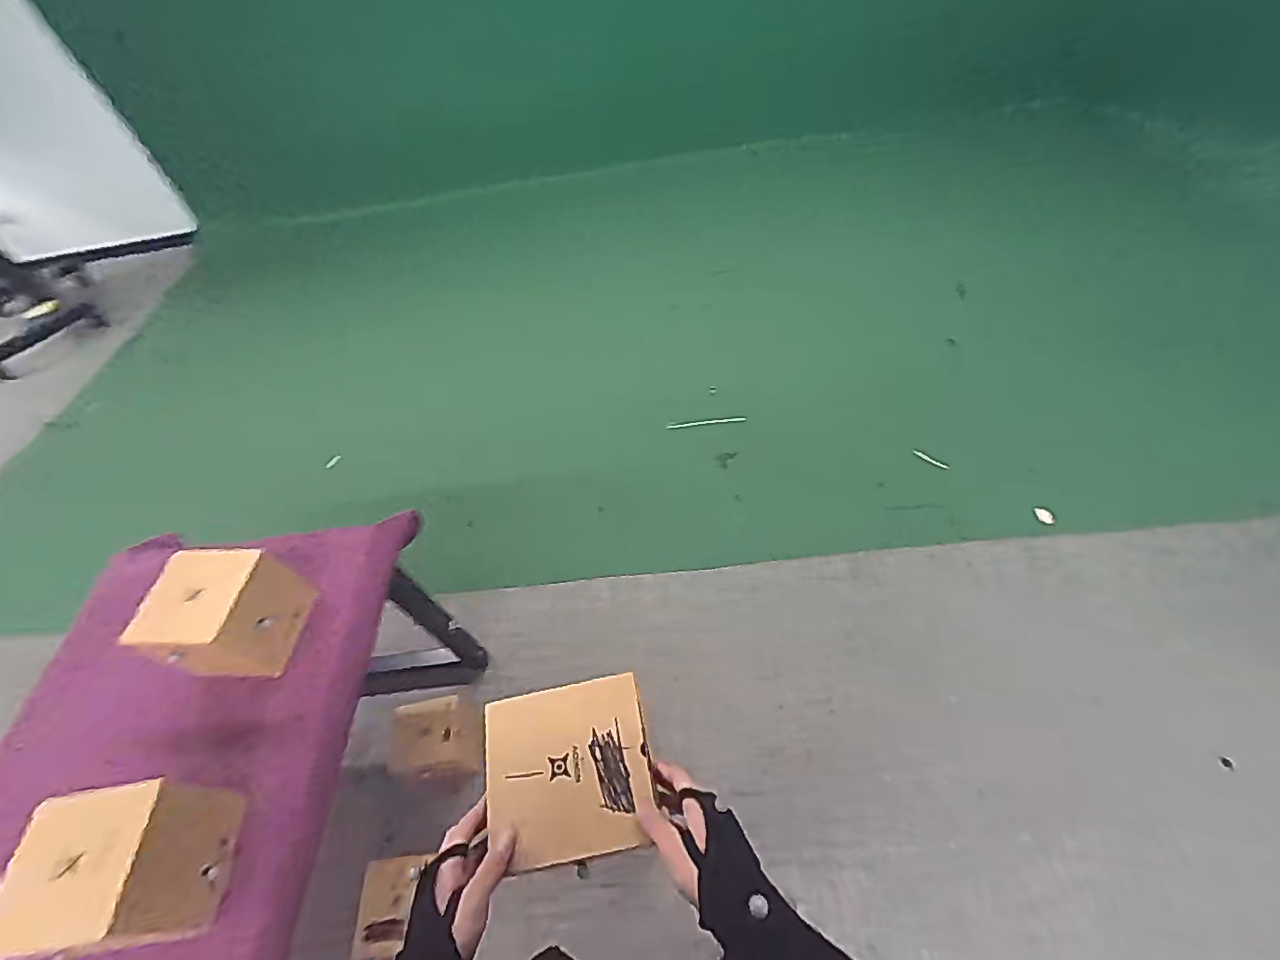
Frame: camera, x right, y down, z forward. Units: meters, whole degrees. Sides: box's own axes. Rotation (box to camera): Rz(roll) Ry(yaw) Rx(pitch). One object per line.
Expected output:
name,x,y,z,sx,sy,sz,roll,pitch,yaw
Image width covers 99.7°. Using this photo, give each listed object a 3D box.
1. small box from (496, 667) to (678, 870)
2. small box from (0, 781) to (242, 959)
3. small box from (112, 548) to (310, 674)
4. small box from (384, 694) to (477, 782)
small box,-0.054,0.331,0.621,0.179,0.176,0.168,-11,55,1
small box,-0.689,0.515,0.715,0.179,0.176,0.168,-11,52,2
small box,-0.725,0.230,0.942,0.179,0.176,0.168,-3,53,9
small box,-0.562,0.706,1.471,0.179,0.176,0.168,-13,51,0
